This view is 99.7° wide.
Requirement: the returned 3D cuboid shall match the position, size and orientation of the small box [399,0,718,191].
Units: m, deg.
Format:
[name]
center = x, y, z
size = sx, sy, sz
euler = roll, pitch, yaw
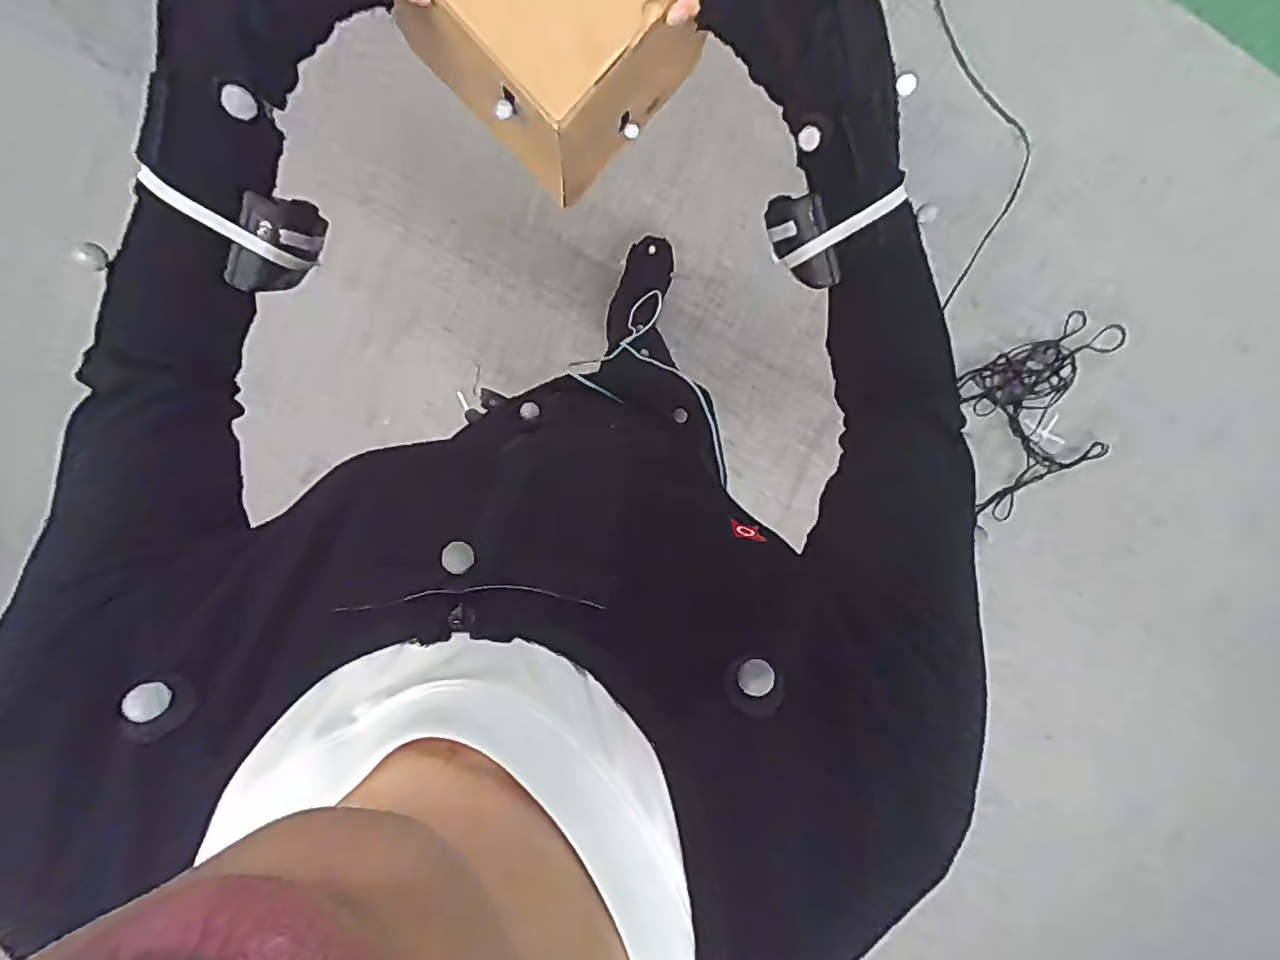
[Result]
[small box]
center = -0.060, -0.344, 0.376
size = 0.179, 0.176, 0.168
euler = 43, 94, -14
